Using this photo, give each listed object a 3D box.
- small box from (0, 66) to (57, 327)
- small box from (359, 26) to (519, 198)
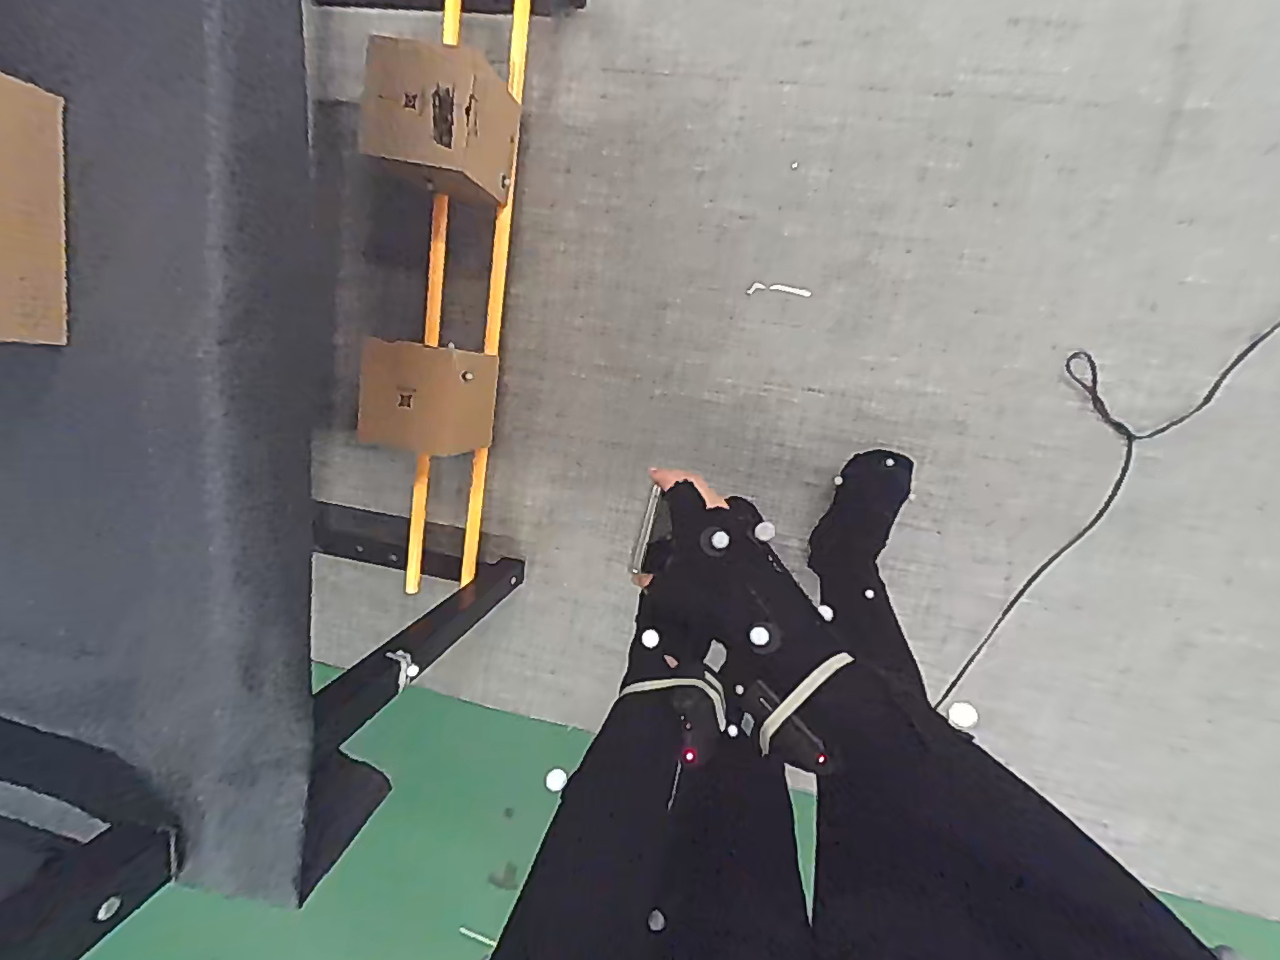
[{"bbox_3d":[-0.514,-0.198,0.327,0.168,0.176,0.179,13,102,8],"label":"small box"},{"bbox_3d":[-0.312,-0.573,0.866,0.179,0.176,0.168,14,102,8],"label":"small box"}]
